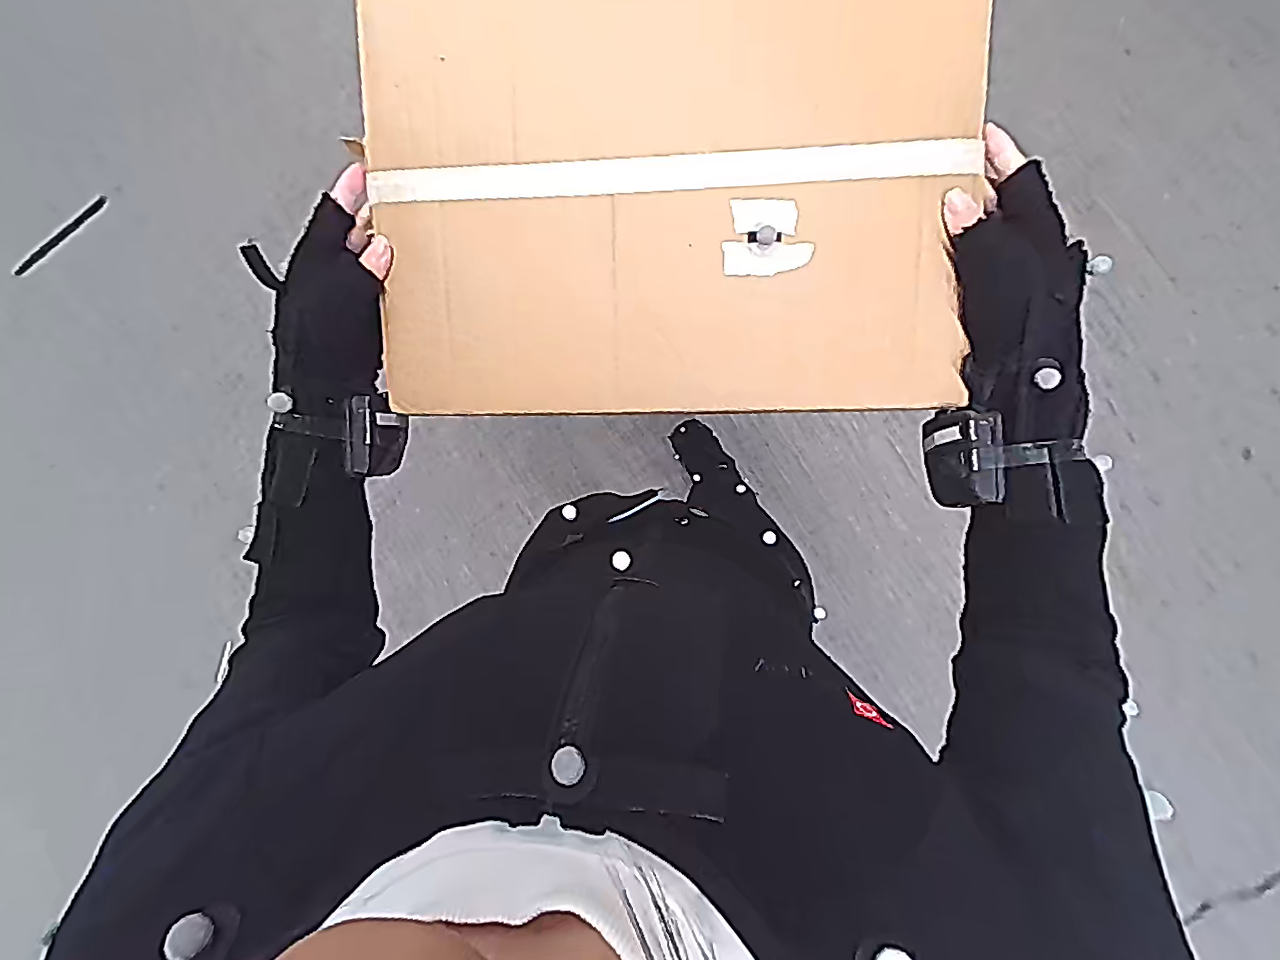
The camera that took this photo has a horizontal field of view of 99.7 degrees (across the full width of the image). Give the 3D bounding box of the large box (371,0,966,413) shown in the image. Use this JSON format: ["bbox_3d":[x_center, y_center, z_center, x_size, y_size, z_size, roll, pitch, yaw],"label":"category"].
[{"bbox_3d":[0.024,-0.230,0.522,0.408,0.320,0.320,-1,98,3],"label":"large box"}]
